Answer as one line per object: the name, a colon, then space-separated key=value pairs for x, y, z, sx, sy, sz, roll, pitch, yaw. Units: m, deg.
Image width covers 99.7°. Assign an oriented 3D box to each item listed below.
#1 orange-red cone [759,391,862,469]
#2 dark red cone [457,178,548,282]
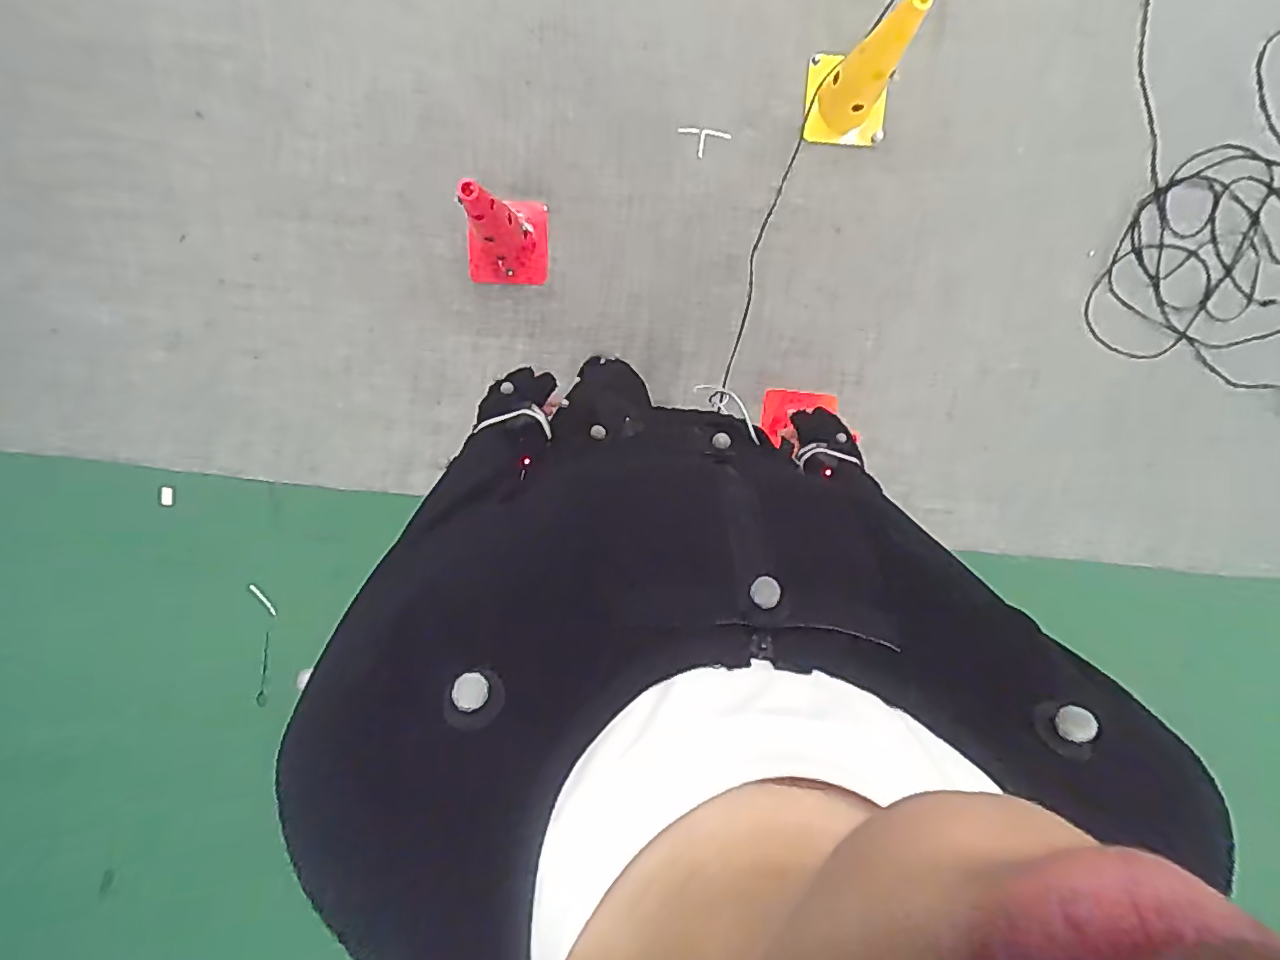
orange-red cone: x=0.433 y=-0.111 z=1.291 sx=0.198 sy=0.360 sz=0.199 roll=6 pitch=97 yaw=-3
dark red cone: x=-0.324 y=-0.570 z=1.180 sx=0.202 sy=0.394 sz=0.201 roll=0 pitch=100 yaw=-2
